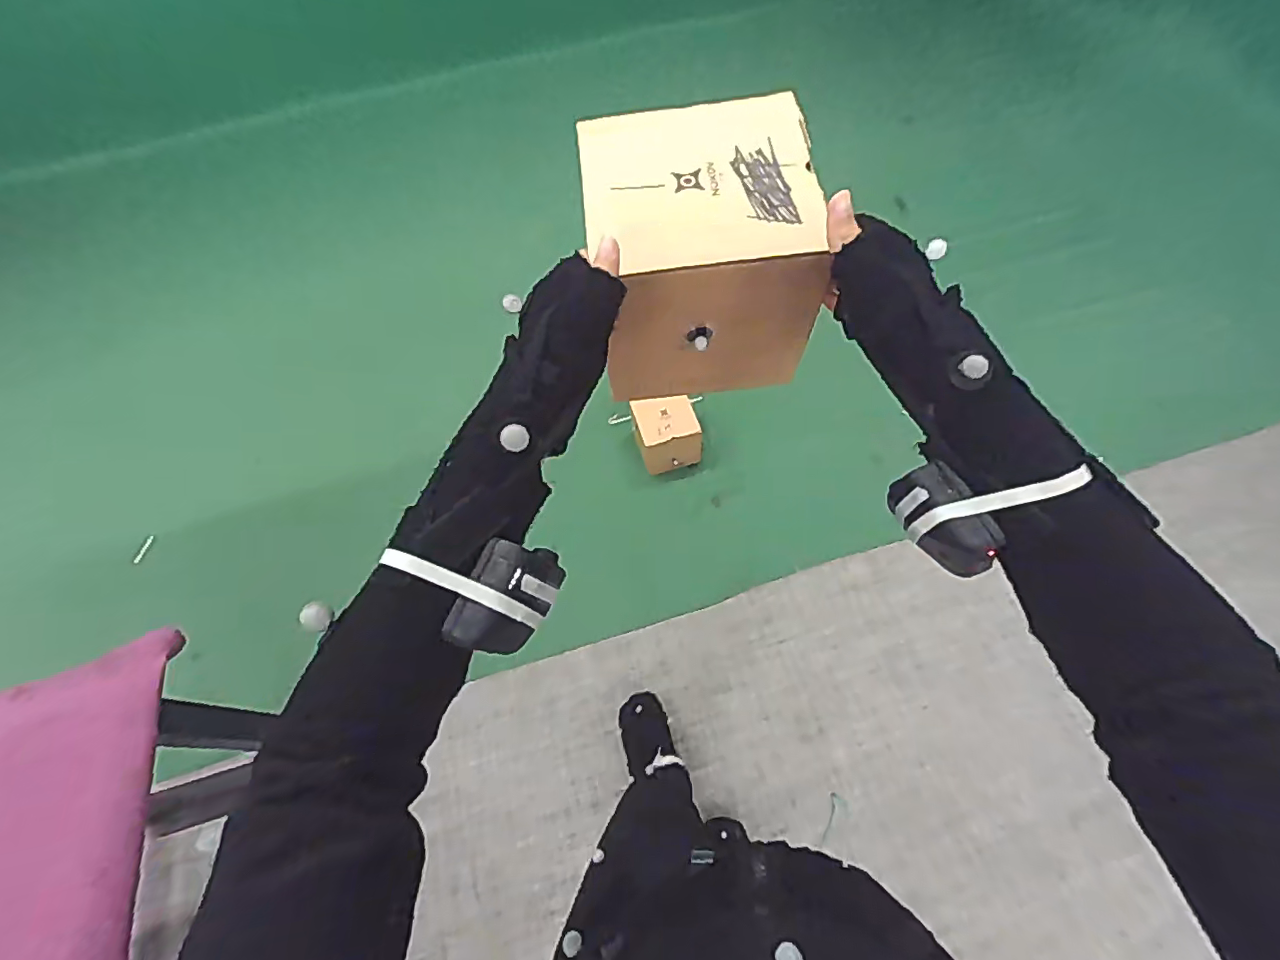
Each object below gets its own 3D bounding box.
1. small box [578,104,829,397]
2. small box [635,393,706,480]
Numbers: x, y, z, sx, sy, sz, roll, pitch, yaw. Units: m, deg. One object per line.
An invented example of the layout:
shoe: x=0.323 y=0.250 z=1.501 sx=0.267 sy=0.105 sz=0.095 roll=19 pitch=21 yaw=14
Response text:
small box: x=0.045 y=-0.188 z=0.476 sx=0.179 sy=0.176 sz=0.168 roll=-4 pitch=65 yaw=2
small box: x=0.090 y=-0.128 z=1.608 sx=0.168 sy=0.176 sz=0.179 roll=-17 pitch=60 yaw=-4
